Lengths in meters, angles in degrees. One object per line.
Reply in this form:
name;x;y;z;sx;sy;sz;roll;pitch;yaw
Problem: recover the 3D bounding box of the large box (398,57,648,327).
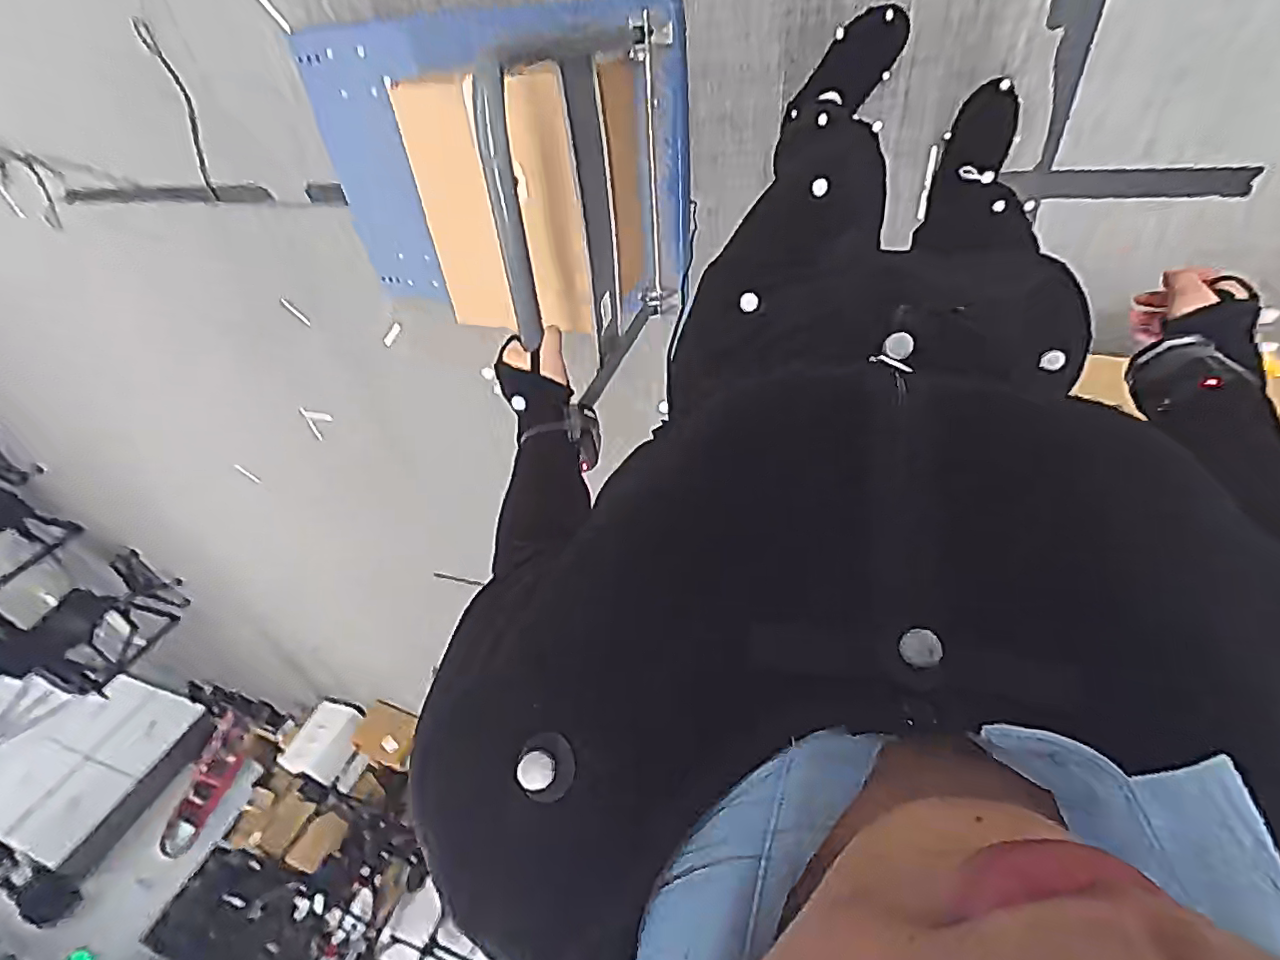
large box;-0.185;-0.557;1.058;0.320;0.320;0.408;9;132;16
